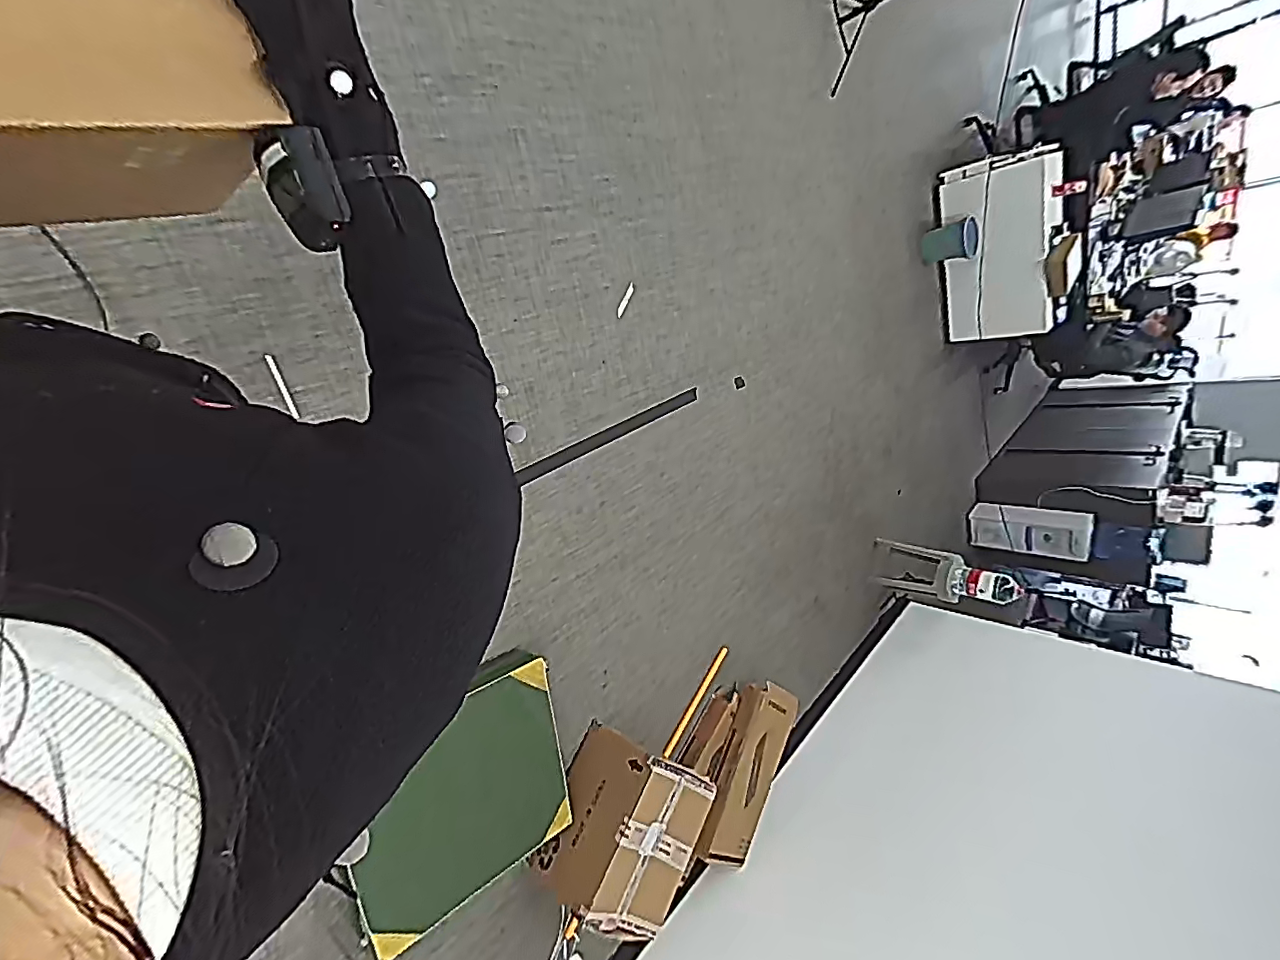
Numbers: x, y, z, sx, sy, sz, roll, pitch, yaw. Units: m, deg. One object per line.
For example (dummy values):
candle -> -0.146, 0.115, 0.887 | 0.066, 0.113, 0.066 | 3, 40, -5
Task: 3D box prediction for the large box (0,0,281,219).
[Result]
large box -> -0.504, -0.321, 0.280 | 0.408, 0.320, 0.320 | -30, 121, -38
